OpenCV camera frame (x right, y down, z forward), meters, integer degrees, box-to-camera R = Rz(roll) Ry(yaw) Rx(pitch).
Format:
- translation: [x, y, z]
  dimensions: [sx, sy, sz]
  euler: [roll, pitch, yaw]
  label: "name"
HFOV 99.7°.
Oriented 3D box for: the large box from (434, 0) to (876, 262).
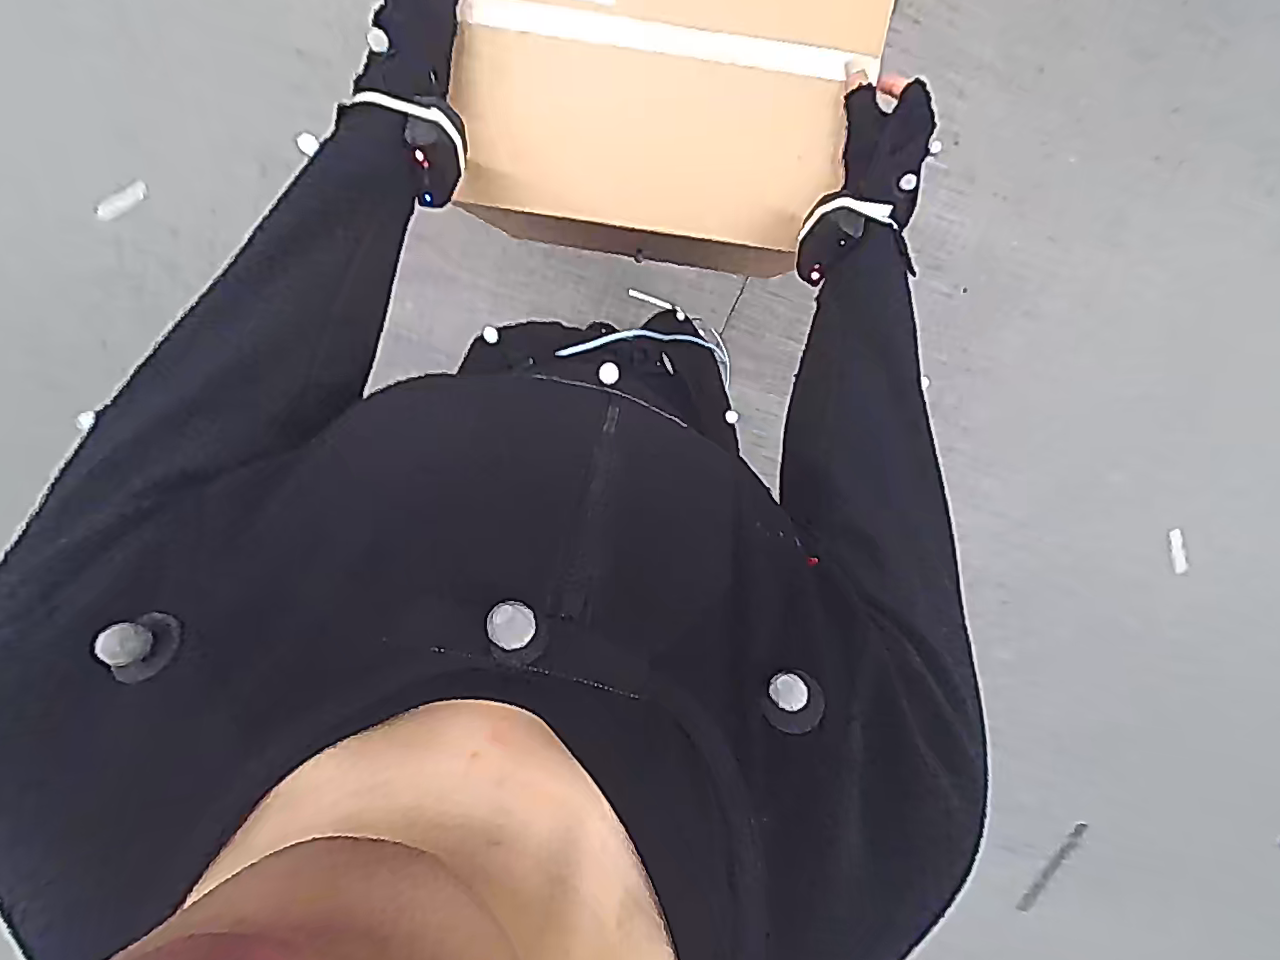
- translation: [0.016, -0.453, 0.638]
  dimensions: [0.408, 0.320, 0.320]
  euler: [8, 107, -1]
  label: "large box"
